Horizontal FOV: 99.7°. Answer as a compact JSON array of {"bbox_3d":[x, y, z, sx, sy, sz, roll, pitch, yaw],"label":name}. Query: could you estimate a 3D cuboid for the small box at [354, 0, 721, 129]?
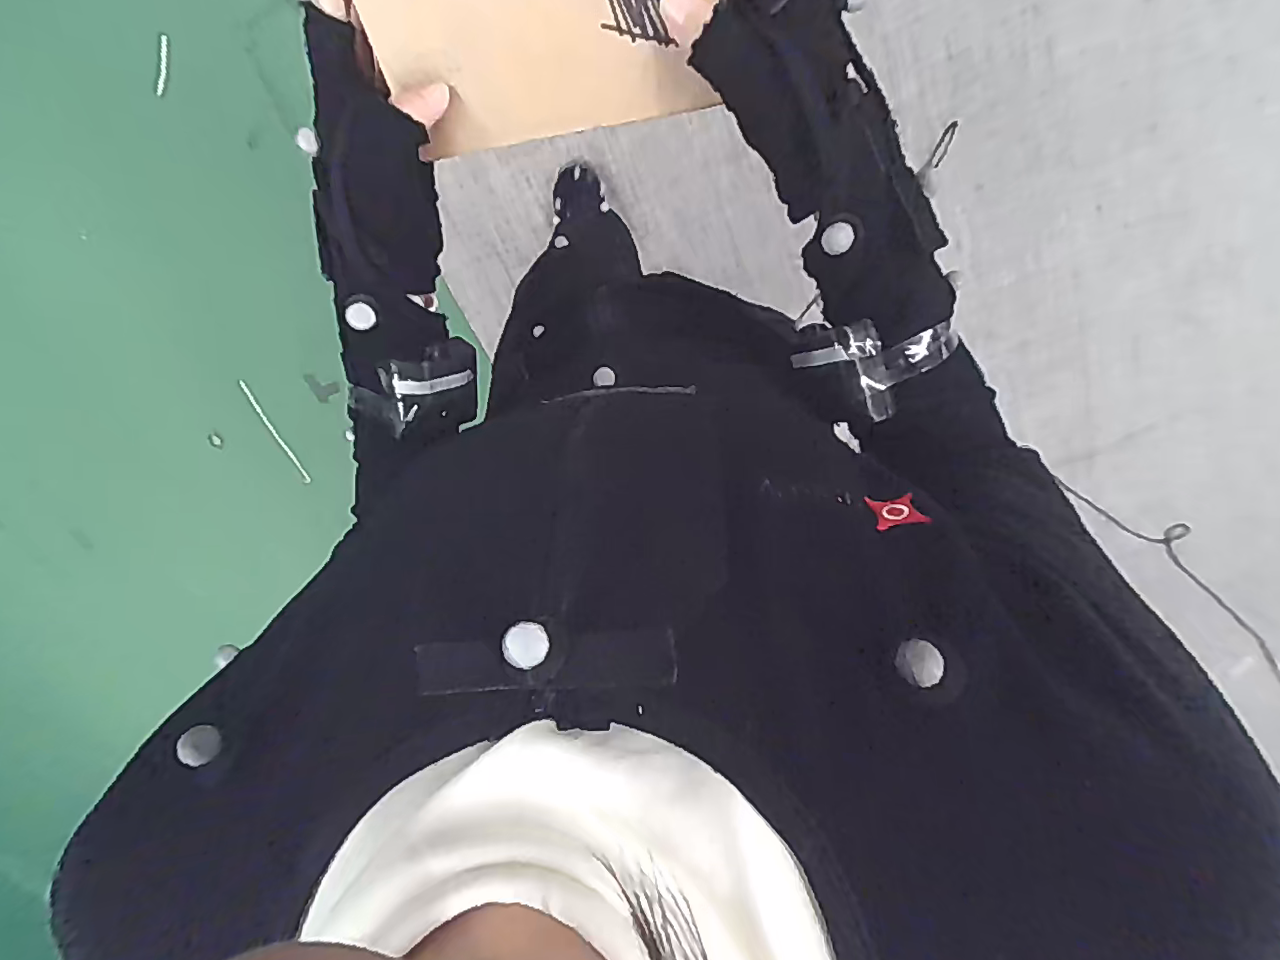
[{"bbox_3d":[-0.050,-0.309,0.285,0.179,0.176,0.168,-2,135,8],"label":"small box"}]
